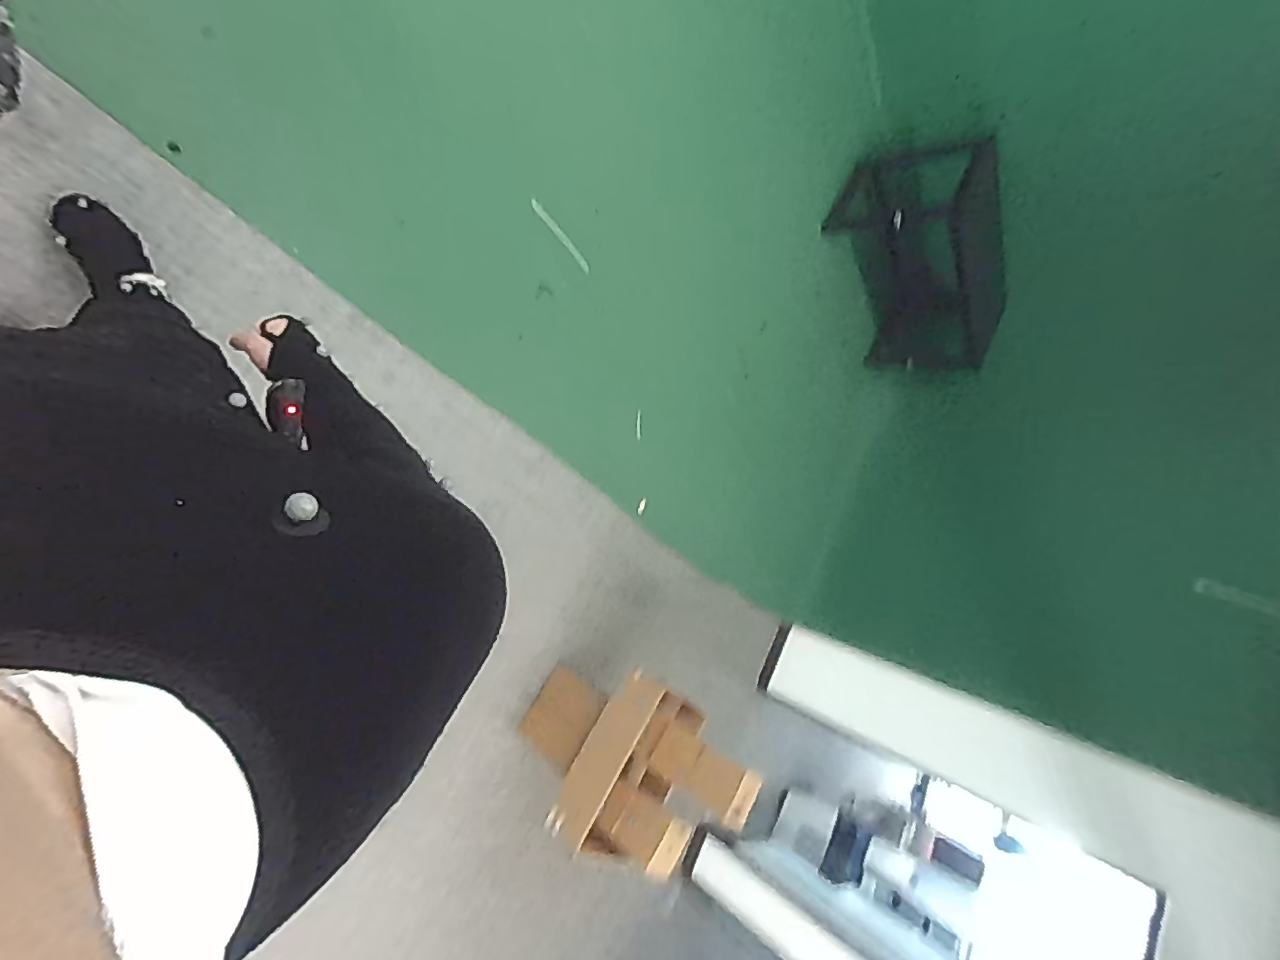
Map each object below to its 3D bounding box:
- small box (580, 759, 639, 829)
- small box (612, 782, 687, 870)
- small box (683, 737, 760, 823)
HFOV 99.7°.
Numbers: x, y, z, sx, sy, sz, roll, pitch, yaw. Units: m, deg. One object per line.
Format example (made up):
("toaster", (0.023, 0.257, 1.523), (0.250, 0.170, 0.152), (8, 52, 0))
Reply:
("small box", (-0.088, 1.156, 1.975), (0.168, 0.176, 0.179), (-52, 133, -20))
("small box", (0.026, 1.189, 1.863), (0.179, 0.176, 0.168), (-52, 133, -19))
("small box", (0.267, 1.004, 1.813), (0.179, 0.176, 0.168), (-57, 134, -17))
